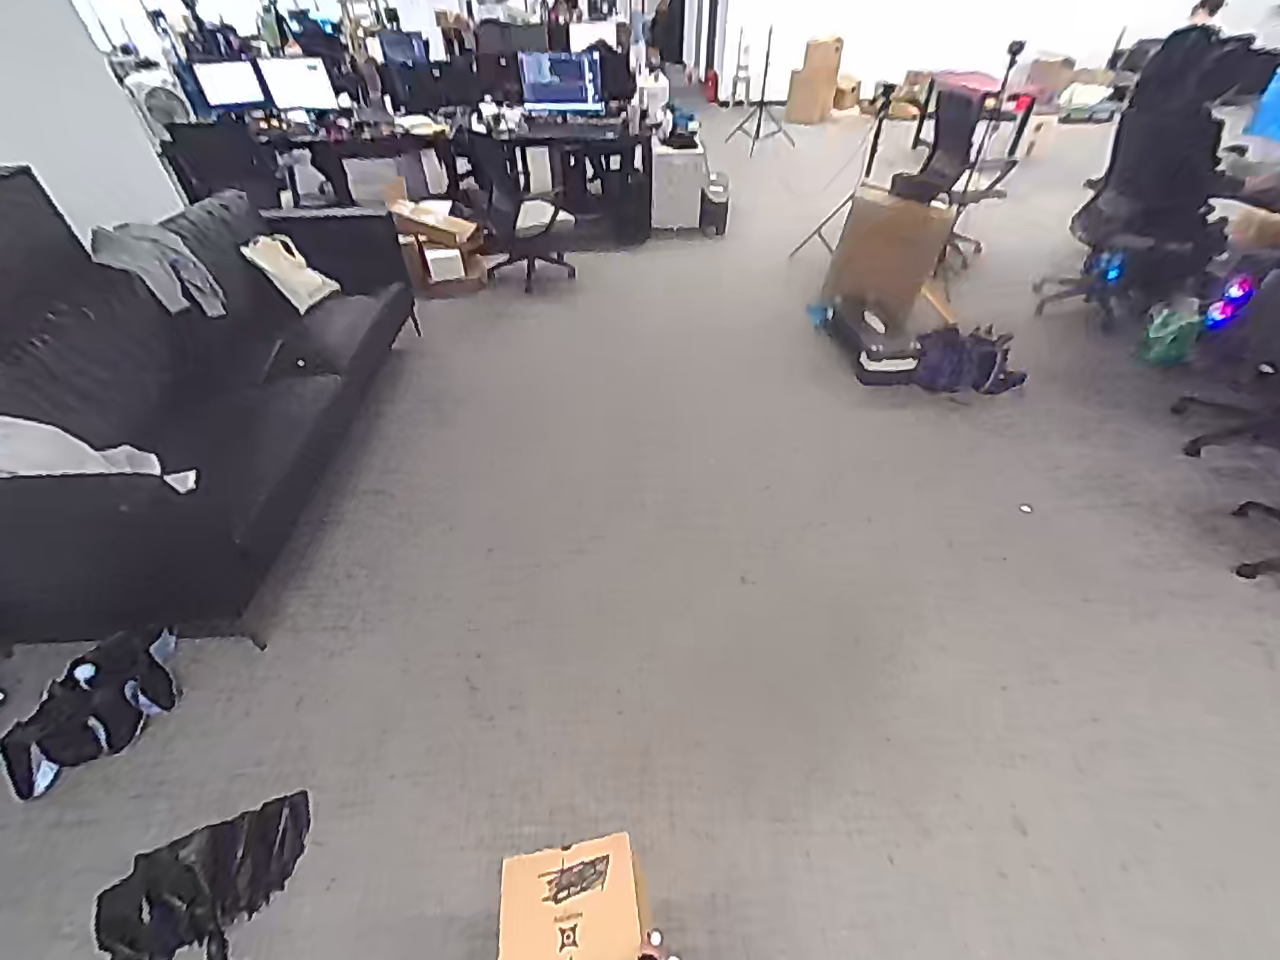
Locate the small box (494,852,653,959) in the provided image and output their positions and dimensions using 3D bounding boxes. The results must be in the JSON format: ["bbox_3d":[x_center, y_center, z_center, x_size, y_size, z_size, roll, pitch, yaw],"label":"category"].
[{"bbox_3d":[-0.074,0.596,0.657,0.168,0.176,0.179,-12,37,-2],"label":"small box"}]
